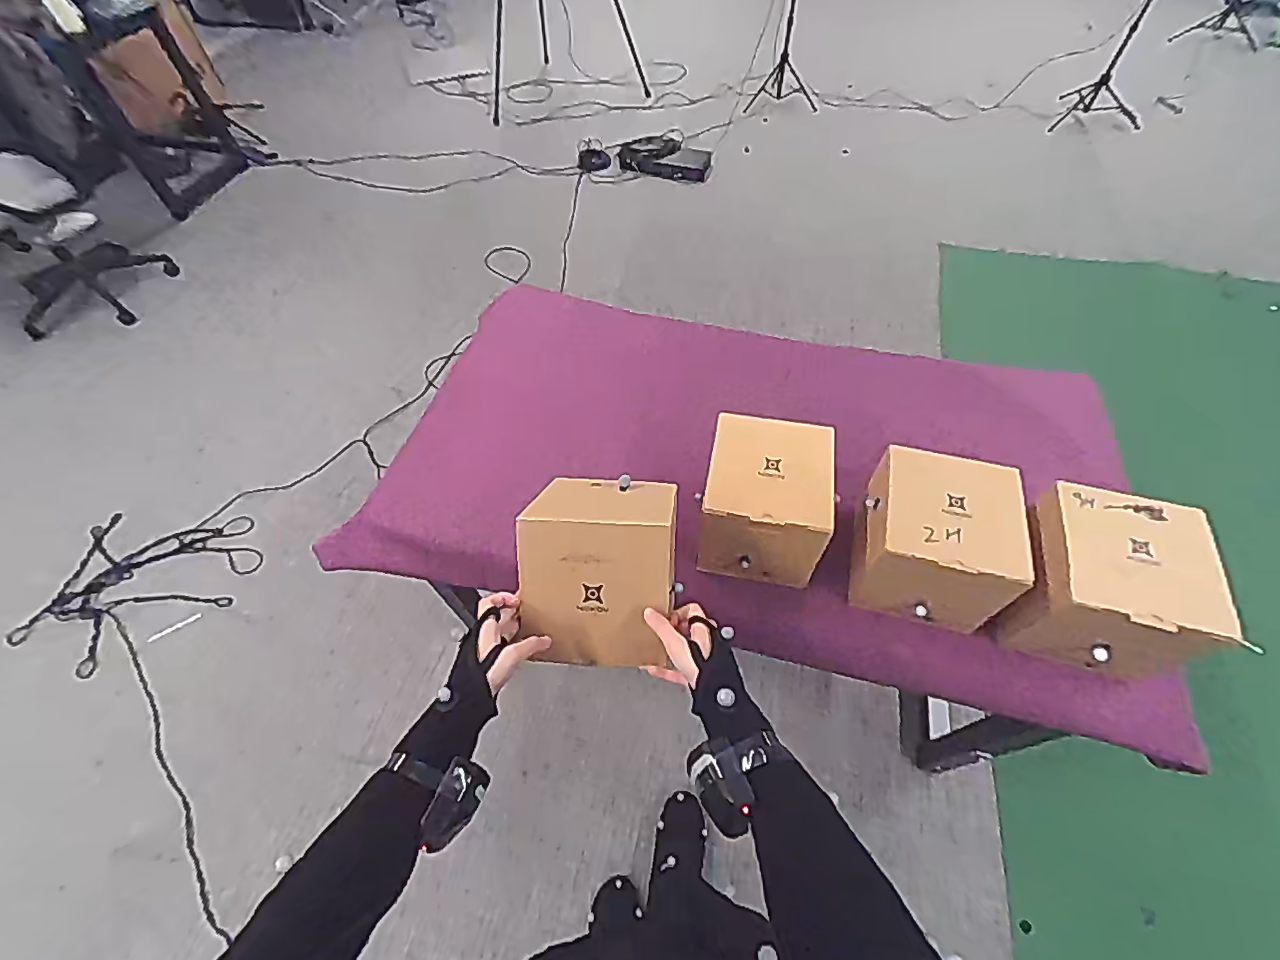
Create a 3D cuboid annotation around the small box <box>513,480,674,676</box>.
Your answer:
[{"bbox_3d":[-0.045,0.109,0.659,0.168,0.179,0.176,2,15,6],"label":"small box"}]
